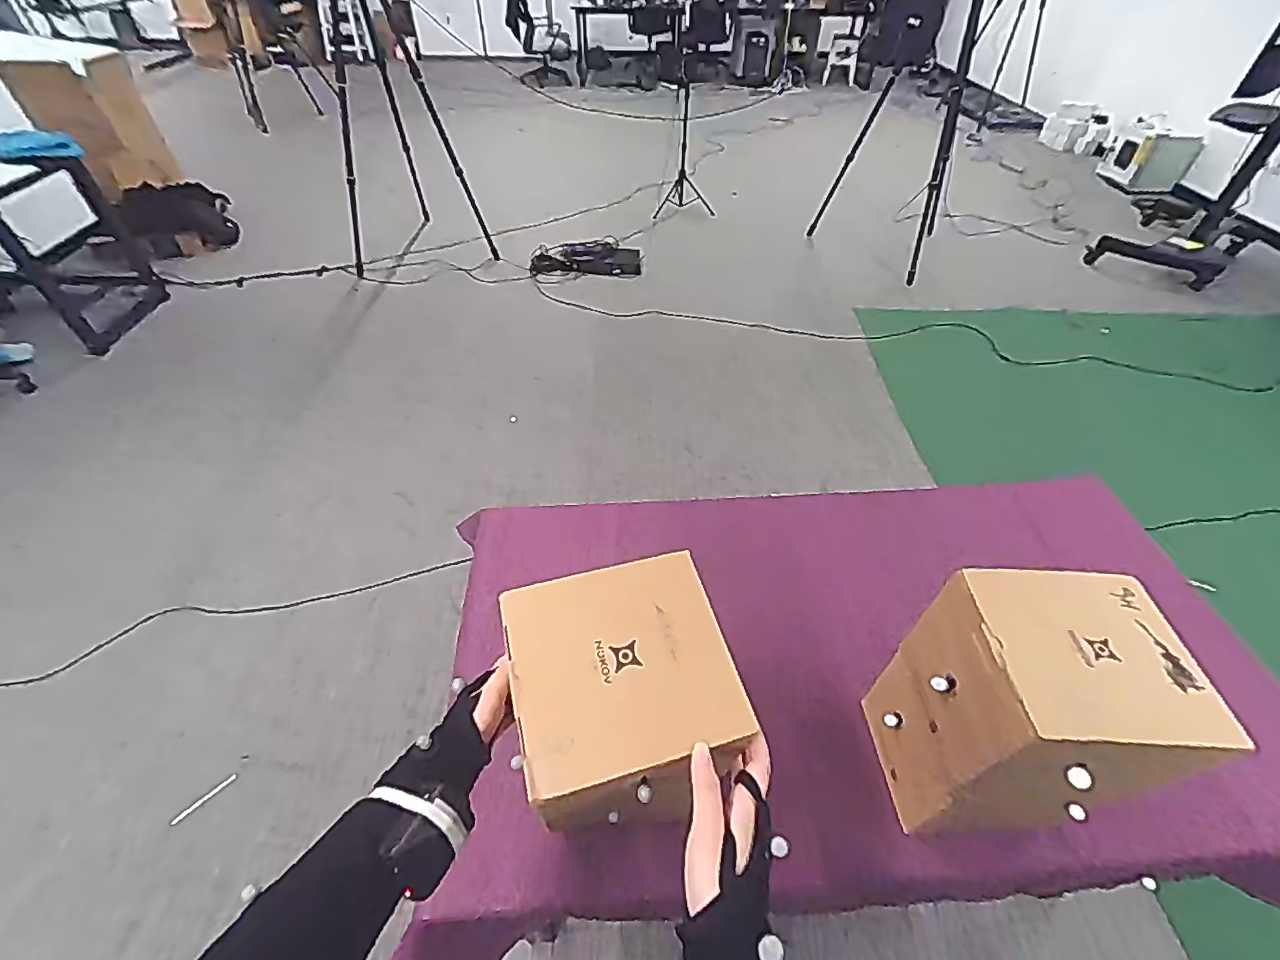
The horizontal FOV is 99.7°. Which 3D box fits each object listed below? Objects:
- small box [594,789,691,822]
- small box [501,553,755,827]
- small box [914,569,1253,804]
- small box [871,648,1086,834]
[{"bbox_3d":[-0.025,0.304,0.662,0.168,0.176,0.179,0,46,-1],"label":"small box"},{"bbox_3d":[-0.019,0.194,0.495,0.179,0.176,0.168,-11,52,-12],"label":"small box"},{"bbox_3d":[0.397,0.205,0.534,0.179,0.176,0.168,2,46,2],"label":"small box"},{"bbox_3d":[0.403,0.316,0.656,0.179,0.176,0.168,-1,46,-2],"label":"small box"}]
